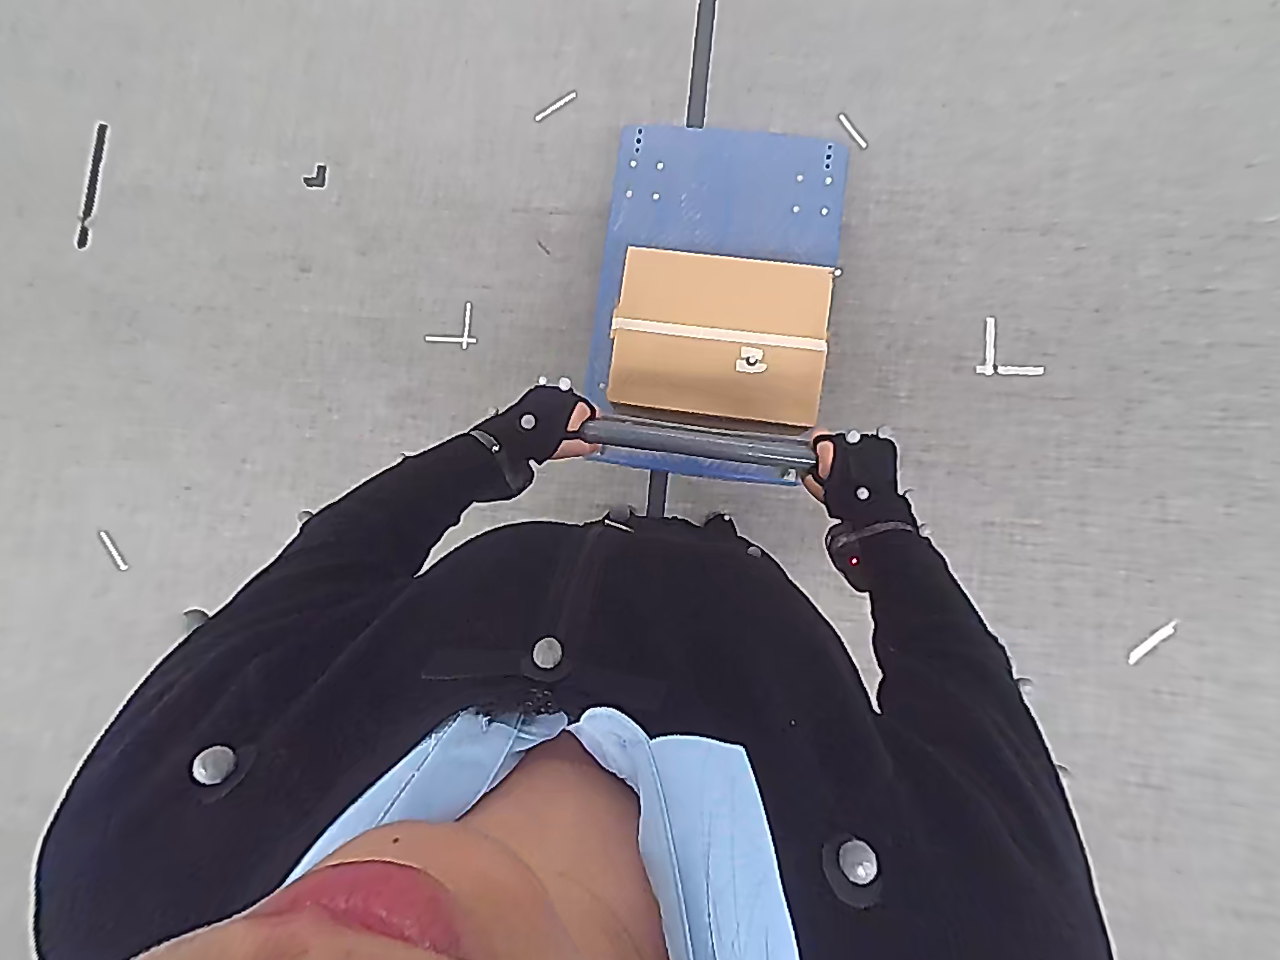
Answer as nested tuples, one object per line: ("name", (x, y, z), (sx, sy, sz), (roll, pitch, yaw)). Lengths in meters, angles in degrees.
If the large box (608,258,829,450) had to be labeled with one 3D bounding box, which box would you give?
("large box", (0.155, -0.255, 1.192), (0.408, 0.320, 0.320), (8, 88, 3))
